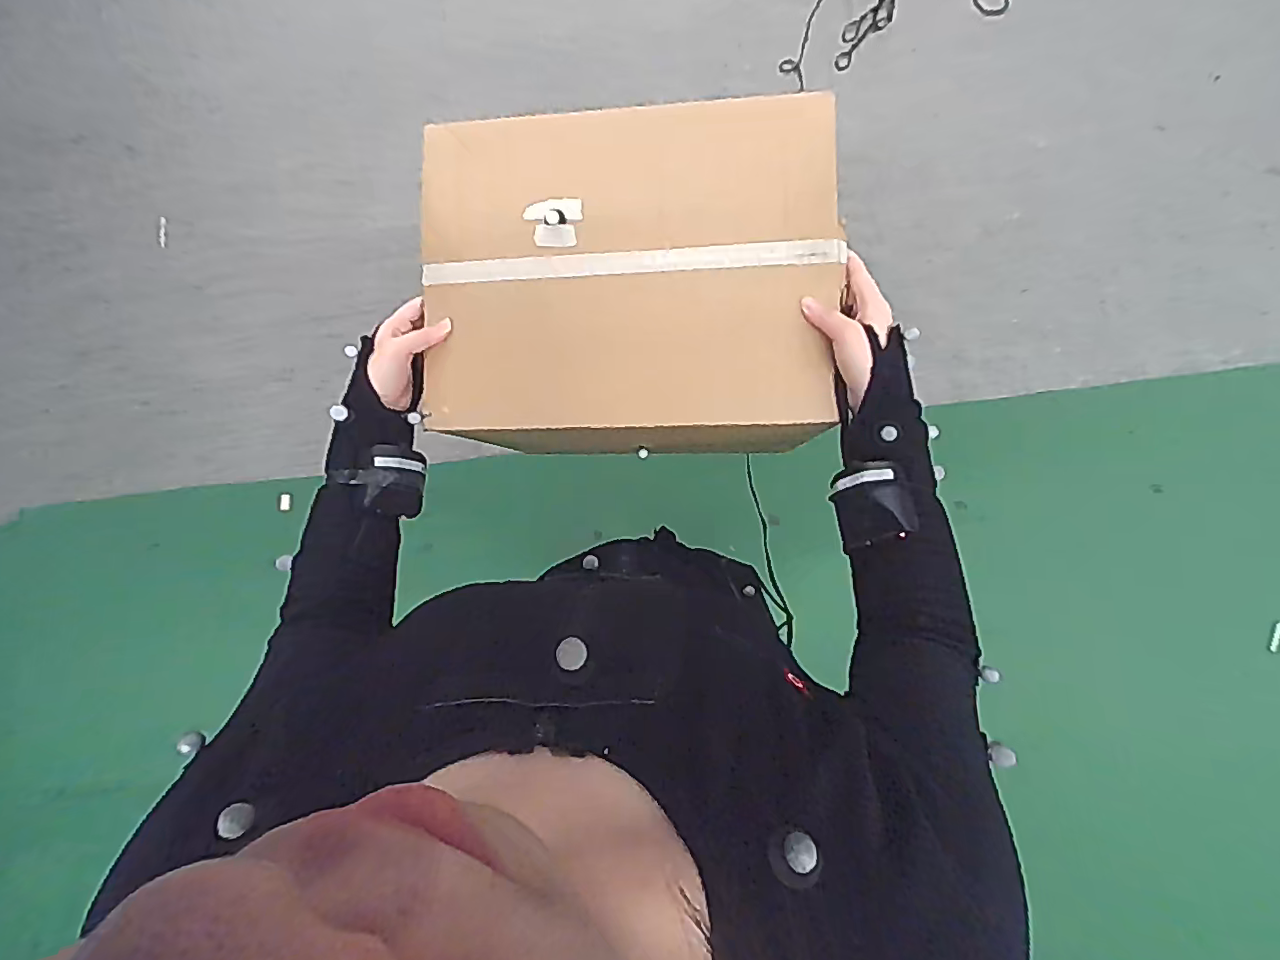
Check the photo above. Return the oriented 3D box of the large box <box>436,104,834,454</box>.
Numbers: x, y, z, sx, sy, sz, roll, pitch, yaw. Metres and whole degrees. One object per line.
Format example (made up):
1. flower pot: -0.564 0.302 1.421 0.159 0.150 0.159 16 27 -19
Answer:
1. large box: 0.006 -0.199 0.685 0.408 0.320 0.320 -1 88 8
